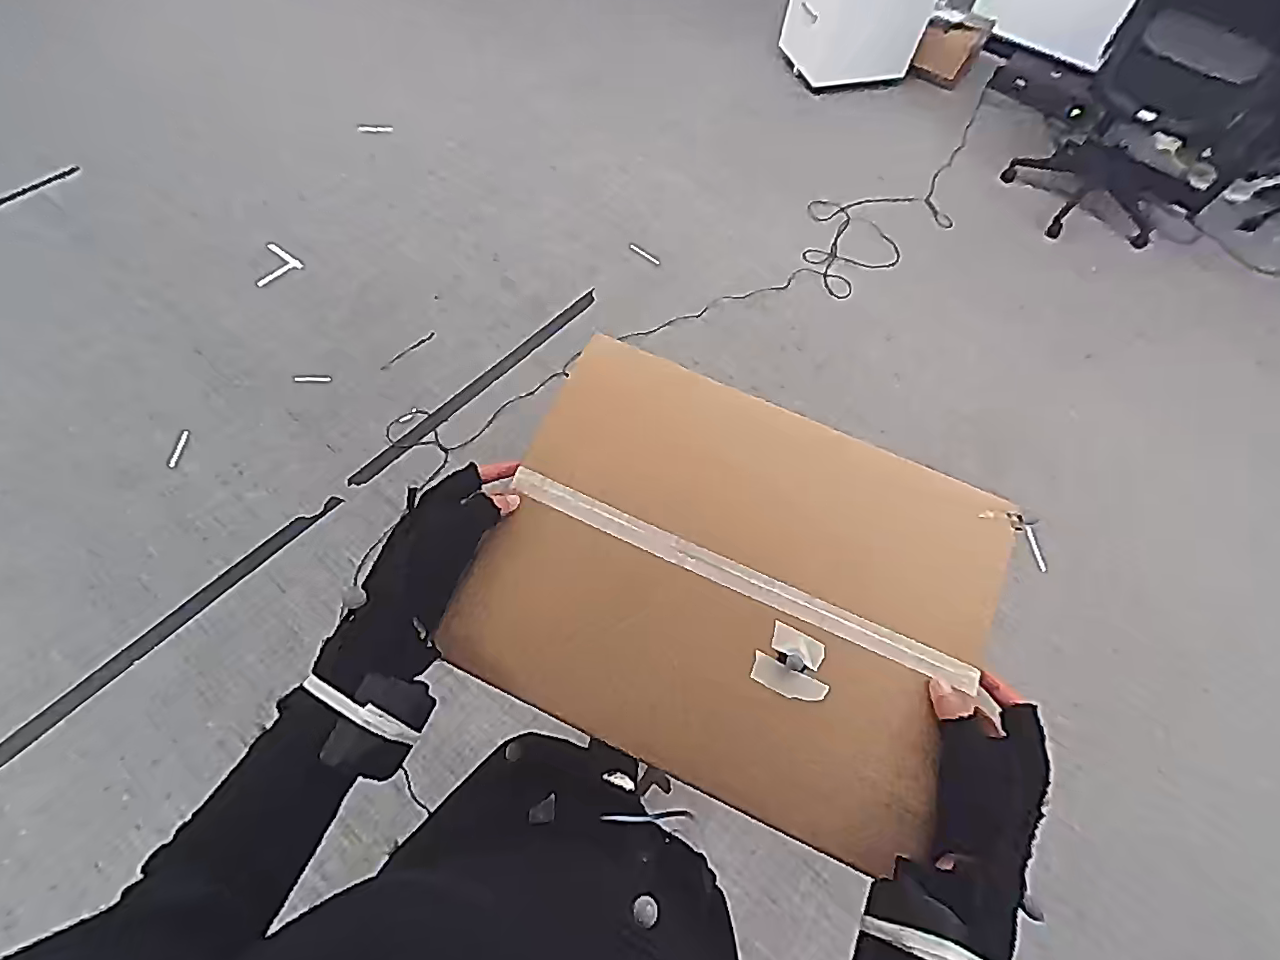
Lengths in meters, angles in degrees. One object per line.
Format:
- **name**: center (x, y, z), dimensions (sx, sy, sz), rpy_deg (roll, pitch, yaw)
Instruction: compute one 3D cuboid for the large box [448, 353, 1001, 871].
- **large box**: center (0.078, 0.126, 0.605), dimensions (0.408, 0.320, 0.320), rpy_deg (24, 76, 6)
